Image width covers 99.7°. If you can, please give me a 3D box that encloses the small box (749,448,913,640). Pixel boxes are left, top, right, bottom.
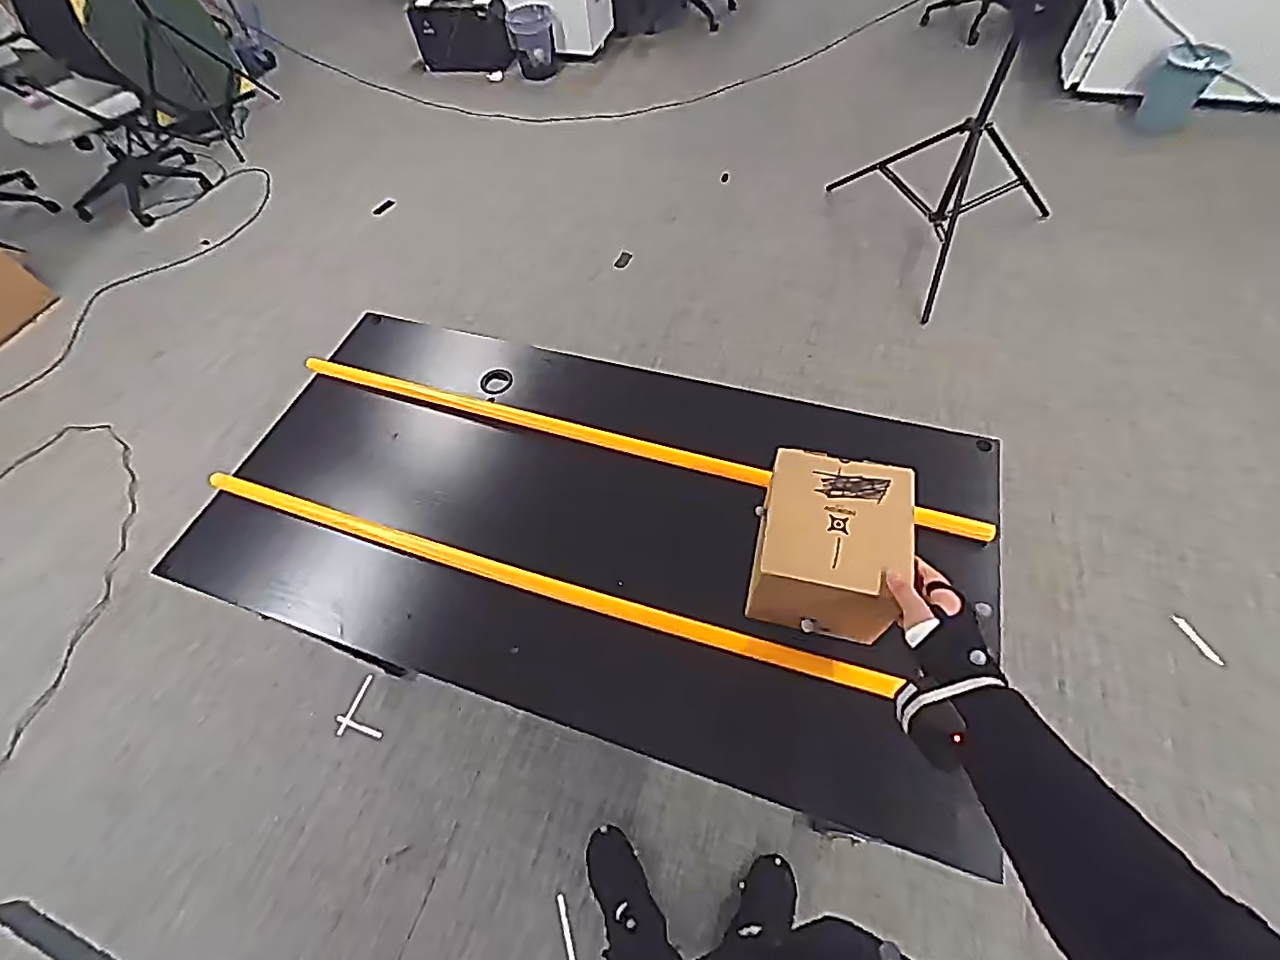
[{"bbox_3d":[0.241,0.087,0.707,0.168,0.176,0.179,10,60,12],"label":"small box"}]
